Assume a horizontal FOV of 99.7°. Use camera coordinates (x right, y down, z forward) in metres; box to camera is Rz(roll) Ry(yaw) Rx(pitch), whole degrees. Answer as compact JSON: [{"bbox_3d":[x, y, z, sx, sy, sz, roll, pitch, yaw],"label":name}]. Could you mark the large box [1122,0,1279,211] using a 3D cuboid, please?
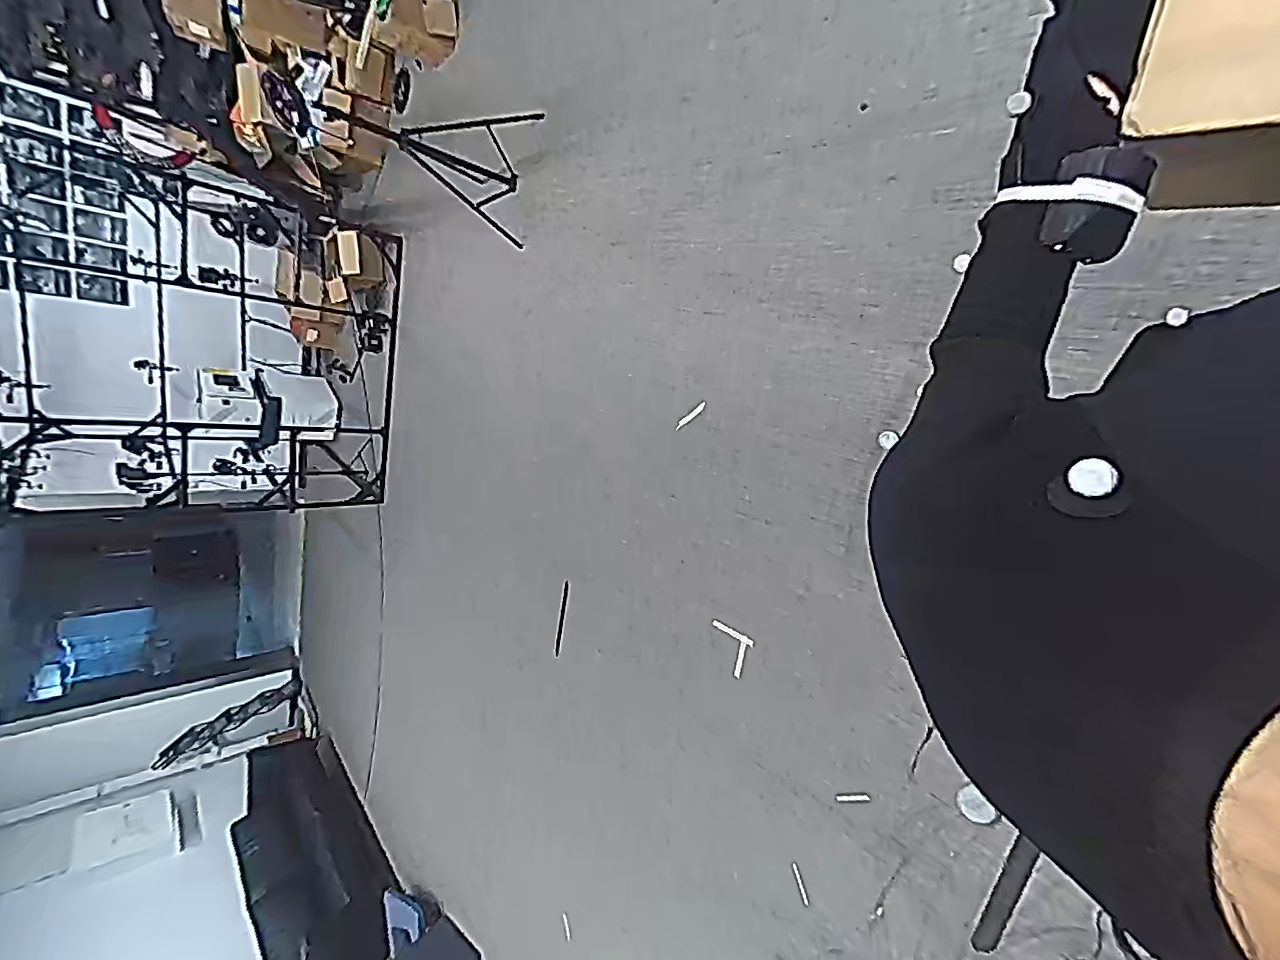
[{"bbox_3d":[0.596,-0.365,0.318,0.408,0.320,0.320,20,115,41],"label":"large box"}]
